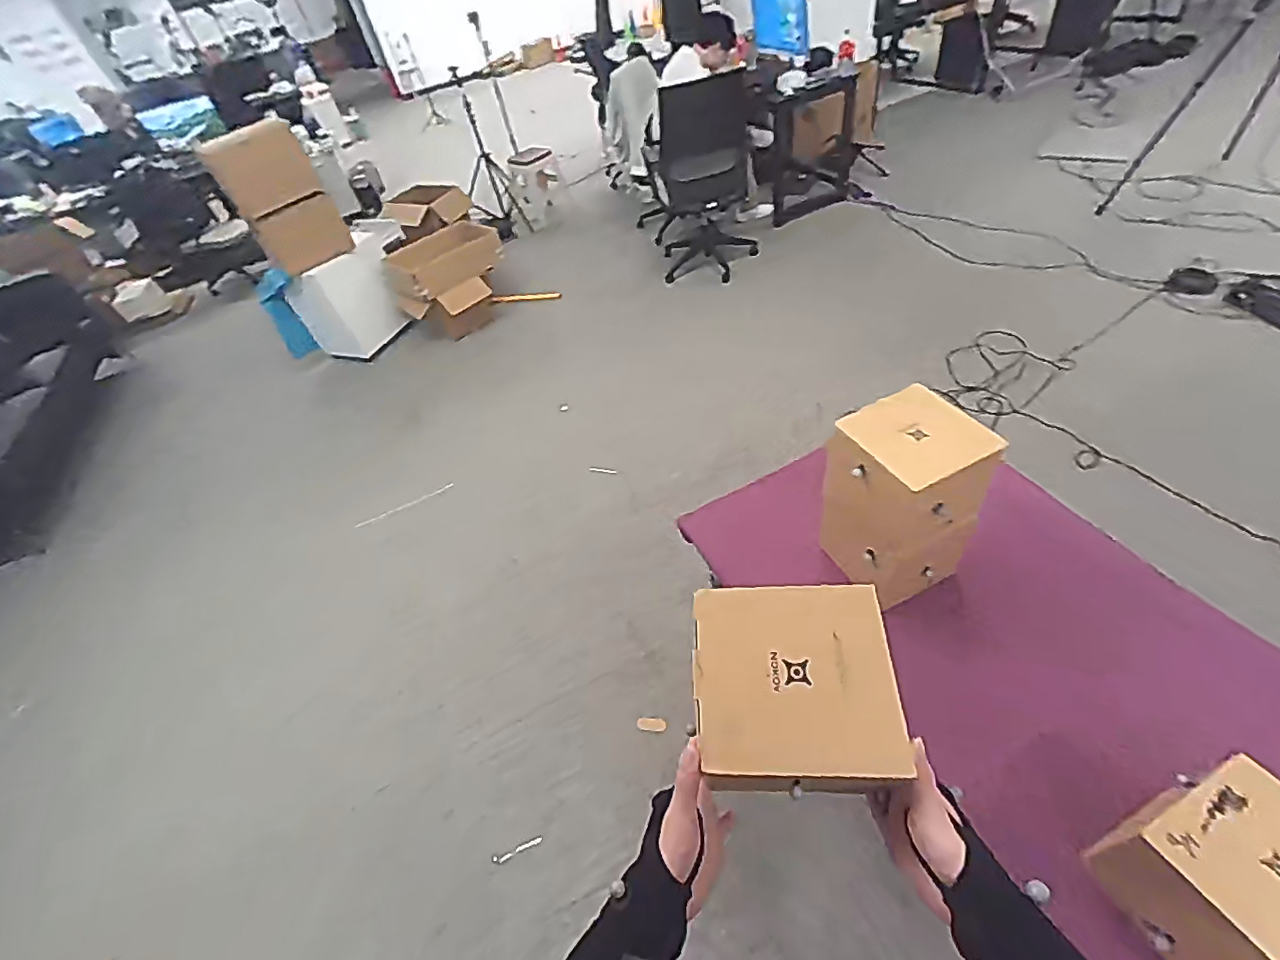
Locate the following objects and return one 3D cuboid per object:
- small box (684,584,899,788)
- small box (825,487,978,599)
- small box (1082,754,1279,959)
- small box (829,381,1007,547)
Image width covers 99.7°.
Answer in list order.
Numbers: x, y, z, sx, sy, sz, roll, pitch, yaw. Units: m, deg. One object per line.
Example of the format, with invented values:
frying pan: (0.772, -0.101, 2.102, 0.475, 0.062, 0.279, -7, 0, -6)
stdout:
small box: (0.141, 0.217, 0.556, 0.179, 0.176, 0.168, -3, 57, 9)
small box: (0.454, 0.089, 0.969, 0.168, 0.176, 0.179, -24, 47, -9)
small box: (0.651, 0.442, 0.589, 0.168, 0.176, 0.179, -25, 47, -10)
small box: (0.420, -0.018, 0.851, 0.168, 0.176, 0.179, -25, 46, -8)
